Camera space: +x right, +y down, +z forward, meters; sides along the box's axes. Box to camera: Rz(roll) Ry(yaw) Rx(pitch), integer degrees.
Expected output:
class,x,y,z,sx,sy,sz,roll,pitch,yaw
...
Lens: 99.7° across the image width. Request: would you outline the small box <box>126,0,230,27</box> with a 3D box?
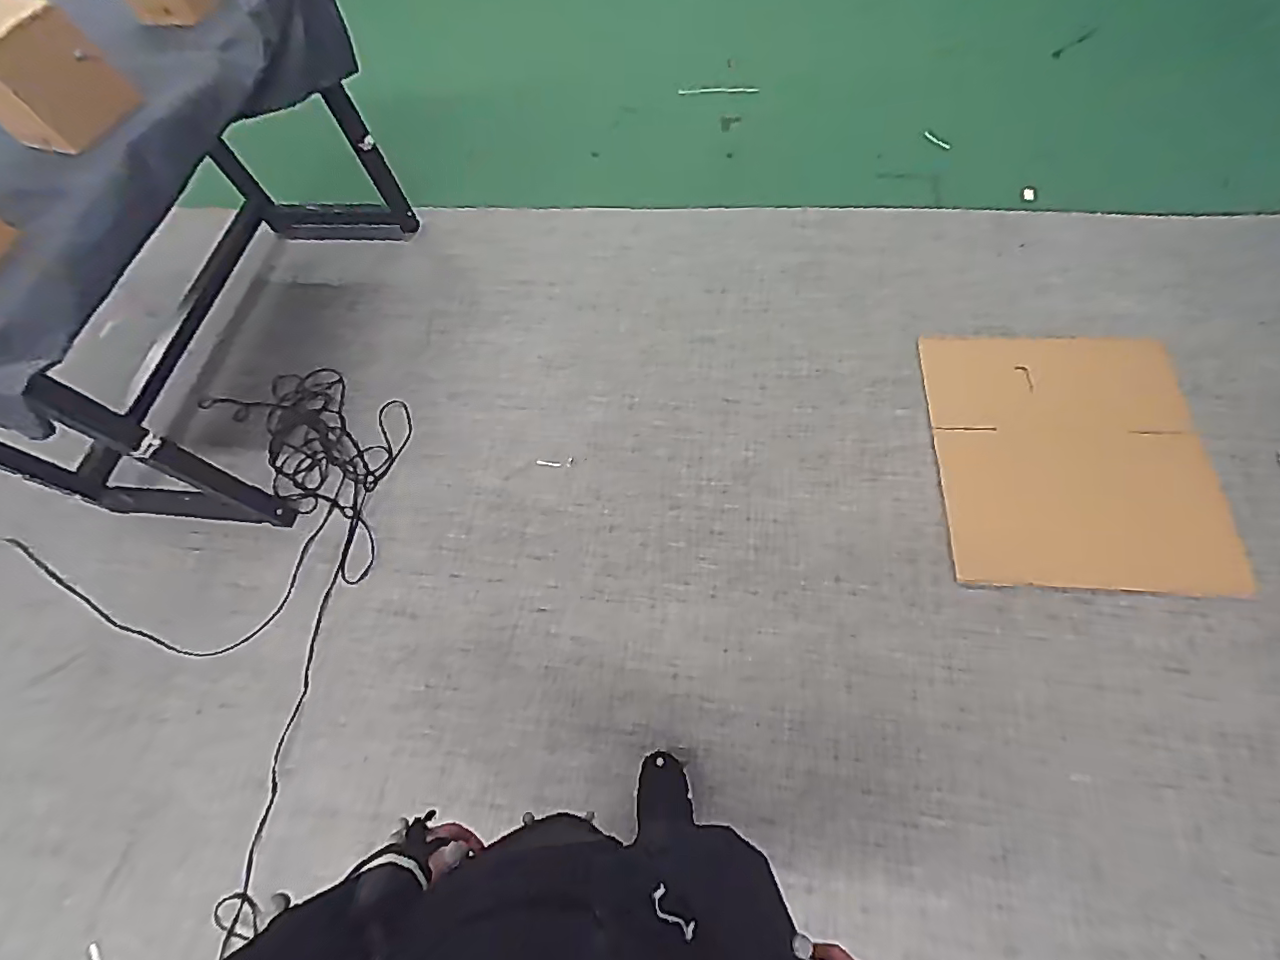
class,x,y,z,sx,sy,sz,roll,pitch,yaw
small box,-1.040,-1.126,1.176,0.168,0.176,0.179,10,66,10
